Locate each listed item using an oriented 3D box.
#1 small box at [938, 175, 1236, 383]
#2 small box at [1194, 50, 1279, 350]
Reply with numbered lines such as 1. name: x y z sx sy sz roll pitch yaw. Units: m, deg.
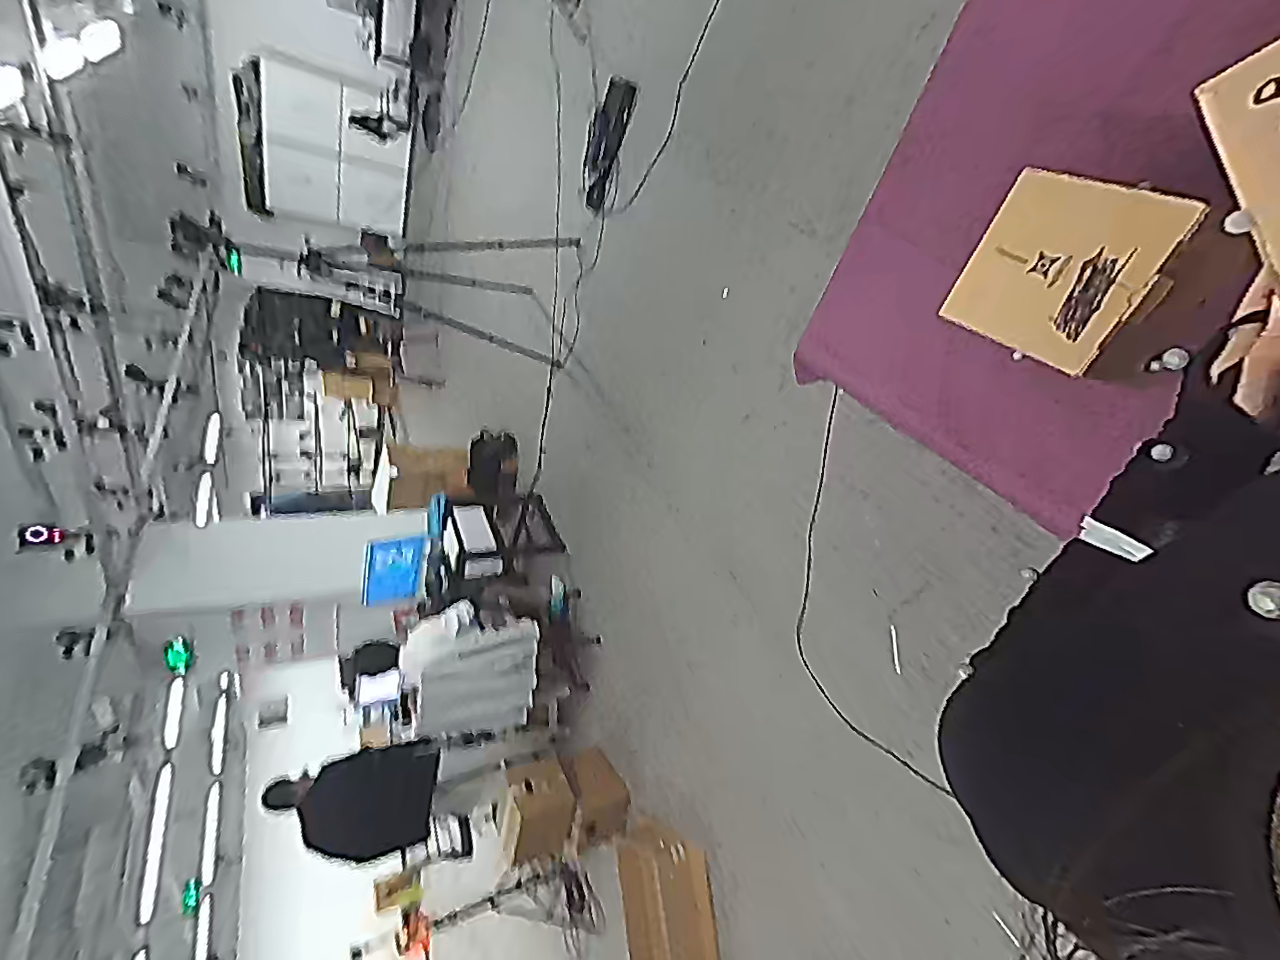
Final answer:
1. small box: 0.498 -0.220 0.613 0.179 0.176 0.168 54 133 44
2. small box: 0.427 -0.173 0.270 0.168 0.176 0.179 -20 101 55
